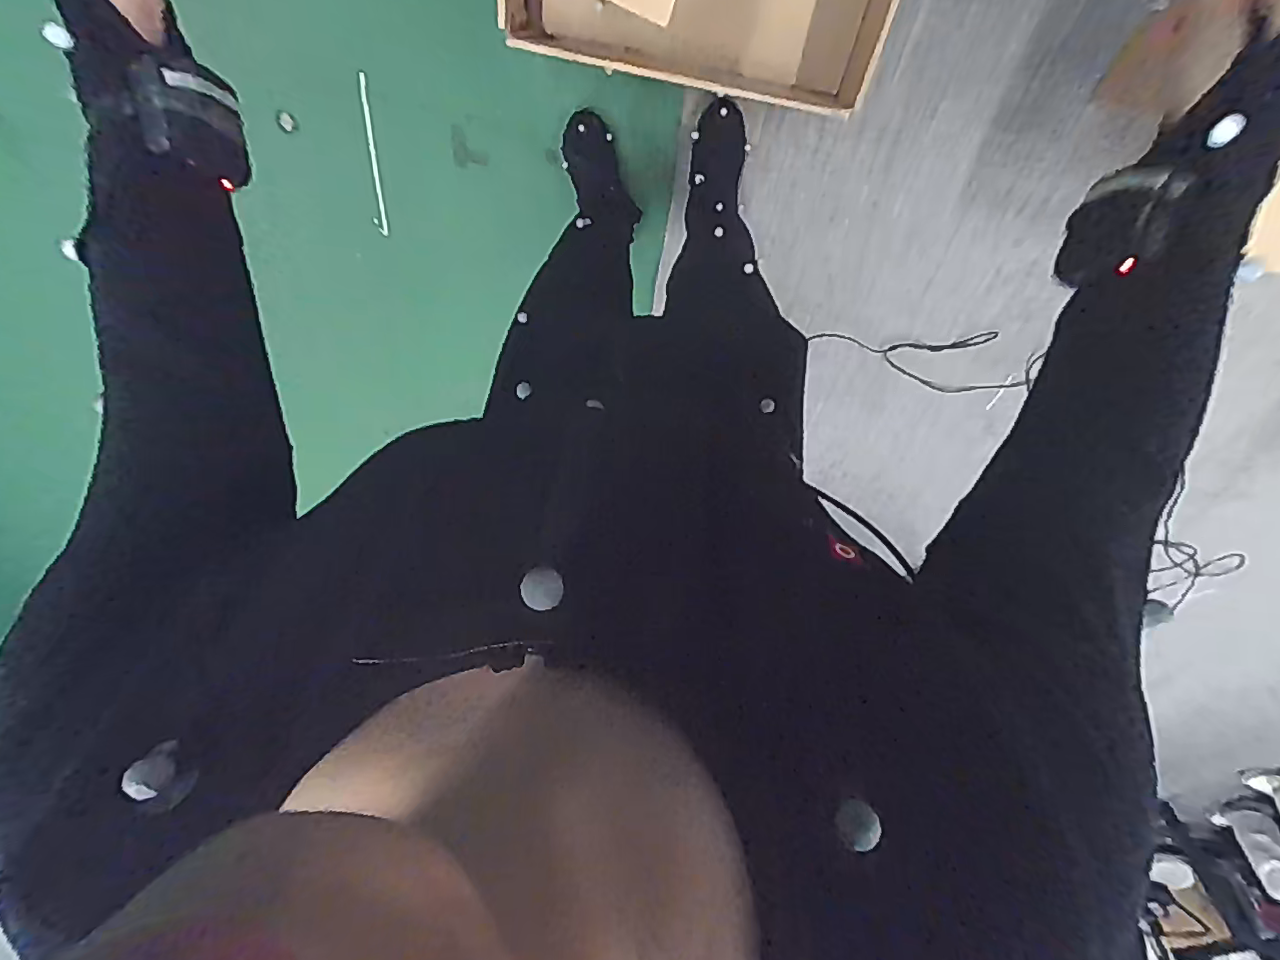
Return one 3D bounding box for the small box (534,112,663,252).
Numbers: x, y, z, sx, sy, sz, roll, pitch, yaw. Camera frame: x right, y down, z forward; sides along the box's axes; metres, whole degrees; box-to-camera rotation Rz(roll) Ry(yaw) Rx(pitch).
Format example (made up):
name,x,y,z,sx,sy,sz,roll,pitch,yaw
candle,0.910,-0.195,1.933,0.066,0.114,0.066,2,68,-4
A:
name,x,y,z,sx,sy,sz,roll,pitch,yaw
small box,-0.078,-0.601,1.099,0.176,0.168,0.179,14,112,-48
